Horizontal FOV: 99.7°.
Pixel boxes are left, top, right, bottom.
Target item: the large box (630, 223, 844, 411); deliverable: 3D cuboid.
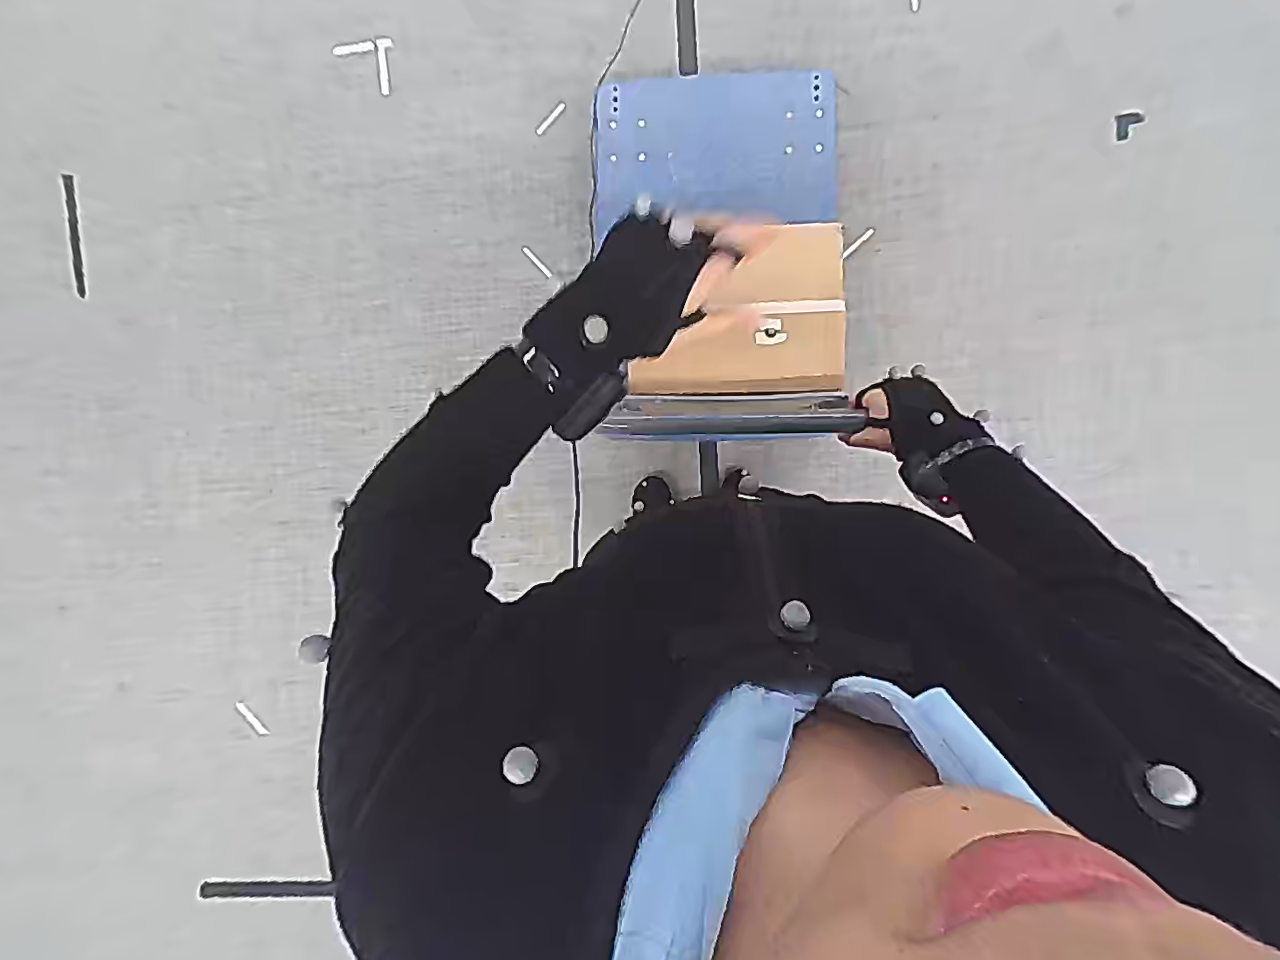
[{"bbox_3d":[0.191,-0.327,1.179,0.408,0.320,0.320,-1,92,3],"label":"large box"}]
